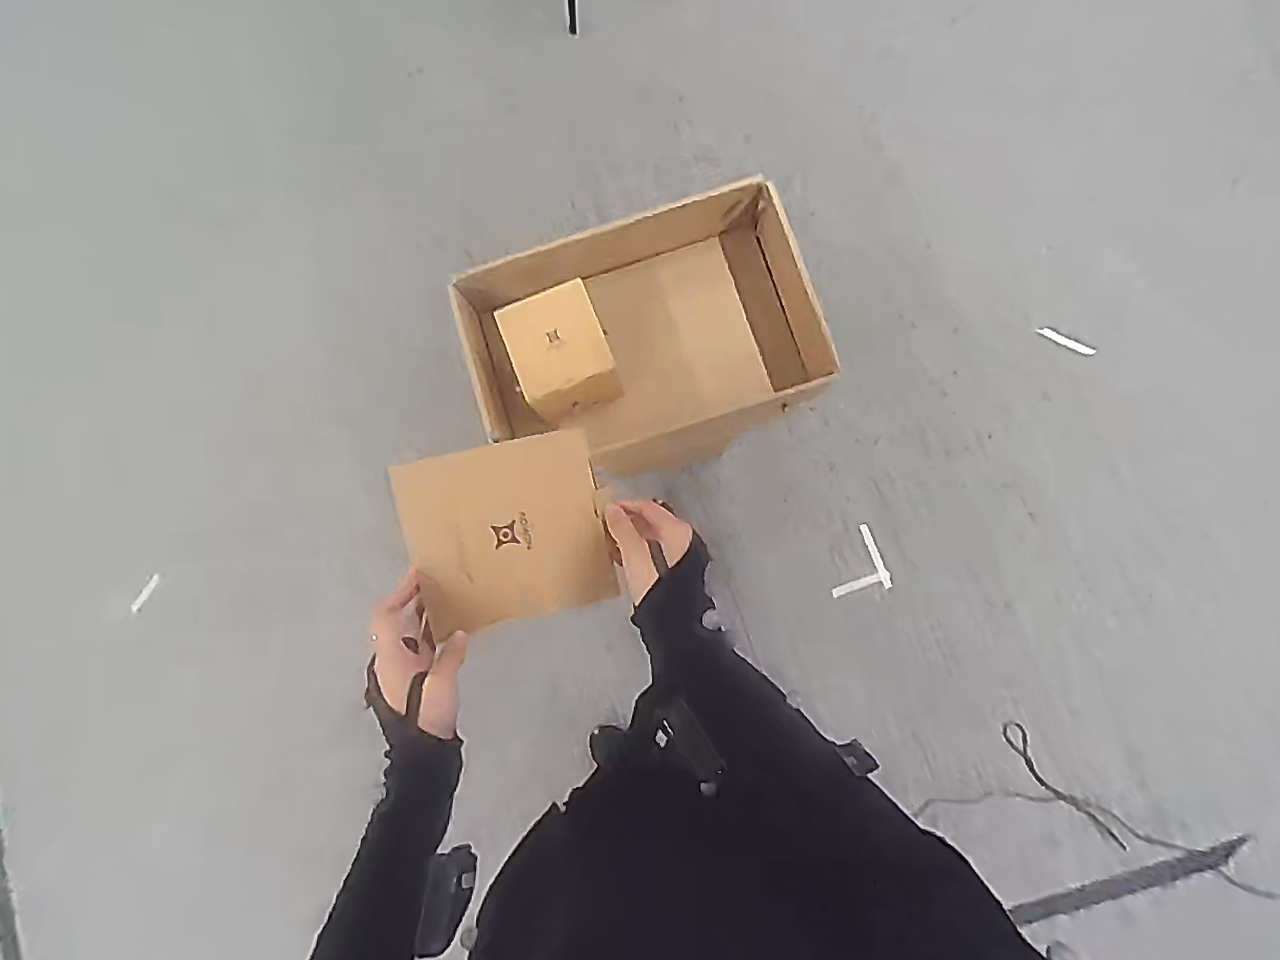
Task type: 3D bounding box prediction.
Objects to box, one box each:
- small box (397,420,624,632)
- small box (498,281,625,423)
[{"bbox_3d":[-0.128,0.035,0.568,0.179,0.176,0.168,-13,94,-9],"label":"small box"},{"bbox_3d":[-0.137,-0.227,1.000,0.168,0.176,0.179,-22,83,1],"label":"small box"}]
